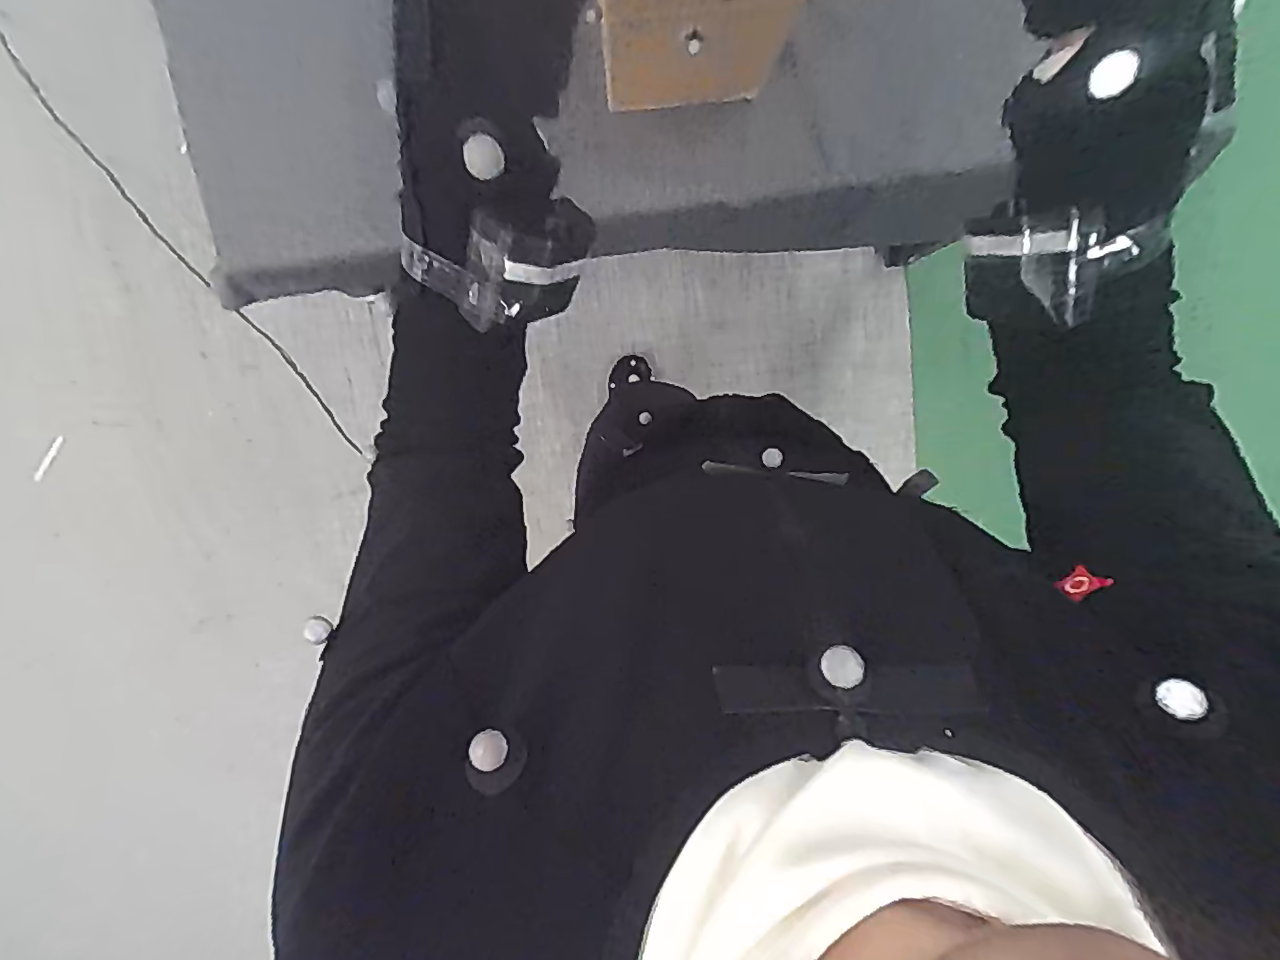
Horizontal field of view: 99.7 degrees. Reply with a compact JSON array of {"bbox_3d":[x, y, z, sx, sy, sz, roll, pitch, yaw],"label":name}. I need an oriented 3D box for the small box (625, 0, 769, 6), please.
[{"bbox_3d":[0.046,-0.481,0.381,0.168,0.176,0.179,-6,100,-1],"label":"small box"}]

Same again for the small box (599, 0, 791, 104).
[{"bbox_3d":[0.045,-0.510,0.542,0.179,0.176,0.168,-7,100,-1],"label":"small box"}]
